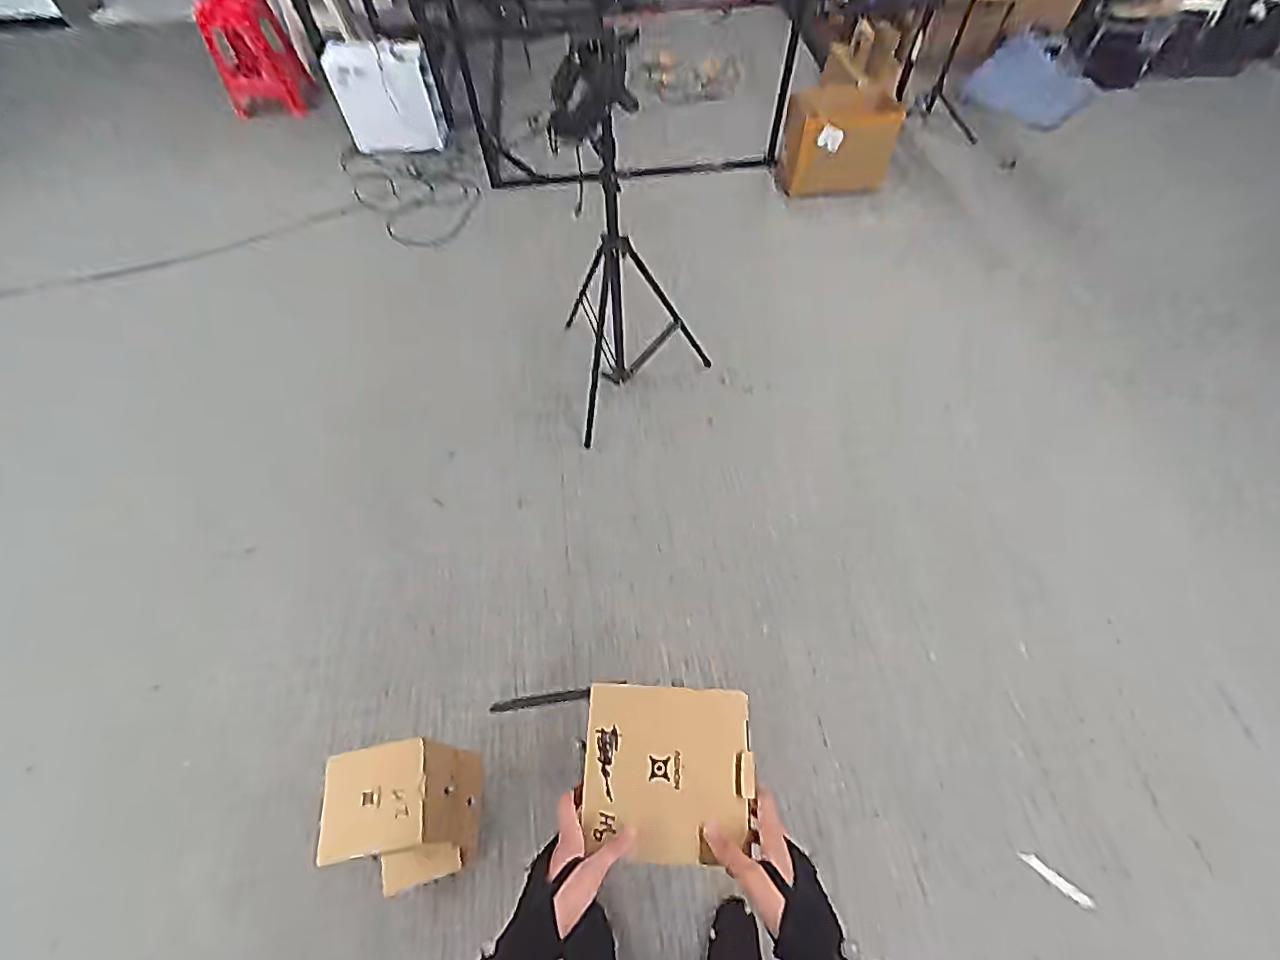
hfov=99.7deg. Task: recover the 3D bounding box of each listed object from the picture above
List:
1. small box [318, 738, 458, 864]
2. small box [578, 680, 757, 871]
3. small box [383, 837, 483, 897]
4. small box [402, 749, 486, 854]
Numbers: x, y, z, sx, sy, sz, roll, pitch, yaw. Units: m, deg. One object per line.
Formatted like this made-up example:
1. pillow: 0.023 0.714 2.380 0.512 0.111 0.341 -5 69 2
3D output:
1. small box: -0.448 0.586 0.988 0.179 0.176 0.168 -10 58 -4
2. small box: 0.028 0.327 0.625 0.179 0.176 0.168 5 67 -1
3. small box: -0.471 0.812 1.234 0.168 0.176 0.179 -16 60 -8
4. small box: -0.429 0.671 1.128 0.168 0.176 0.179 -4 58 0
